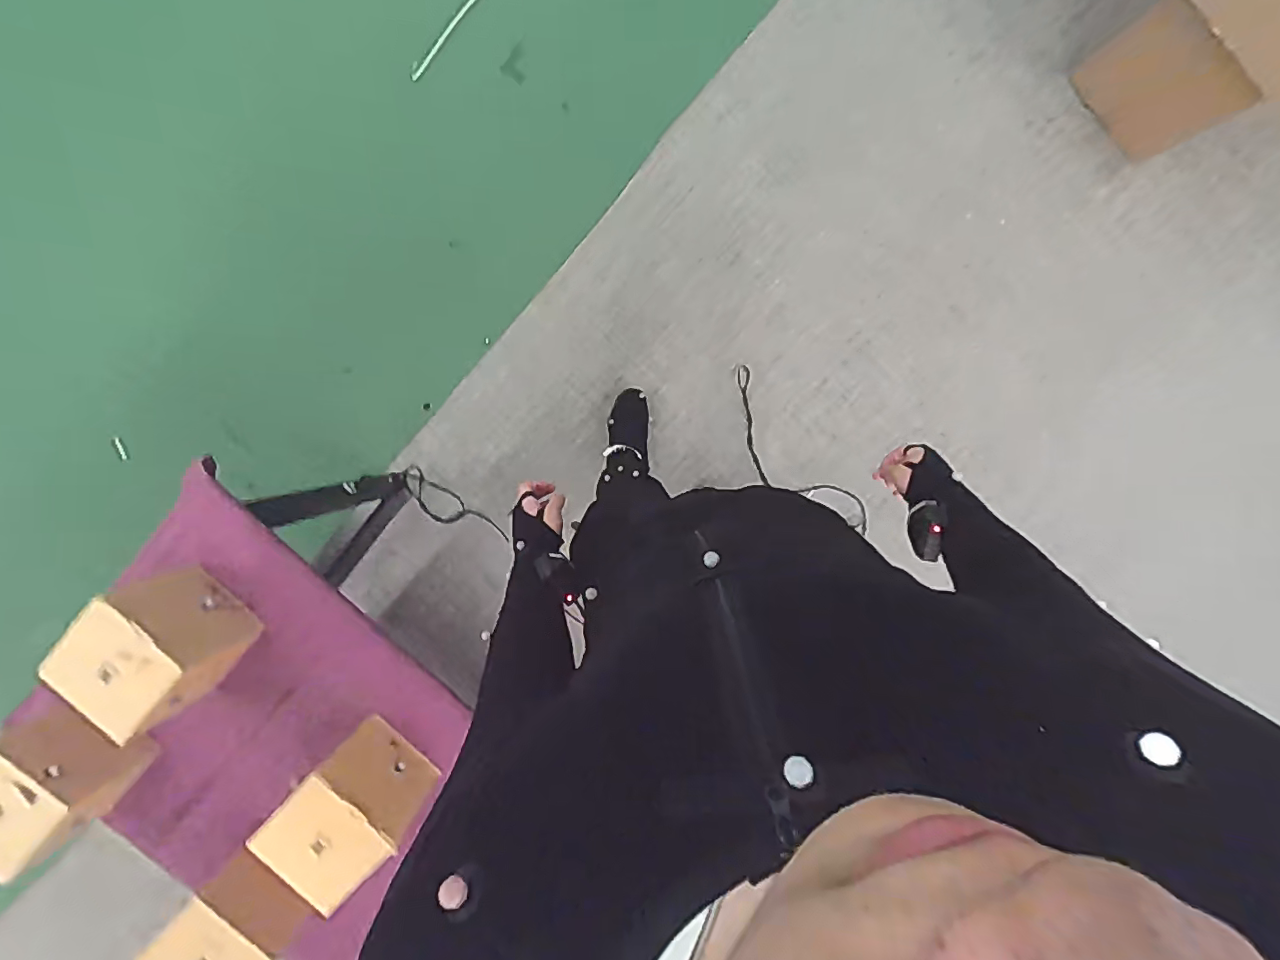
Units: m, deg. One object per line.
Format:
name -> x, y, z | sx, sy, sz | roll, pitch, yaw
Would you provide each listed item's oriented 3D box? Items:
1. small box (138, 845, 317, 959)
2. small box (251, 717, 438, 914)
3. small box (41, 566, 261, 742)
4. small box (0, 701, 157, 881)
small box -> -0.679, 0.755, 0.926 | 0.168, 0.176, 0.179 | 43, 95, -2
small box -> -0.472, 0.539, 0.892 | 0.168, 0.176, 0.179 | 43, 97, -1
small box -> -0.774, 0.271, 0.877 | 0.168, 0.176, 0.179 | 44, 98, -3
small box -> -0.990, 0.506, 0.913 | 0.168, 0.176, 0.179 | 42, 95, -4
